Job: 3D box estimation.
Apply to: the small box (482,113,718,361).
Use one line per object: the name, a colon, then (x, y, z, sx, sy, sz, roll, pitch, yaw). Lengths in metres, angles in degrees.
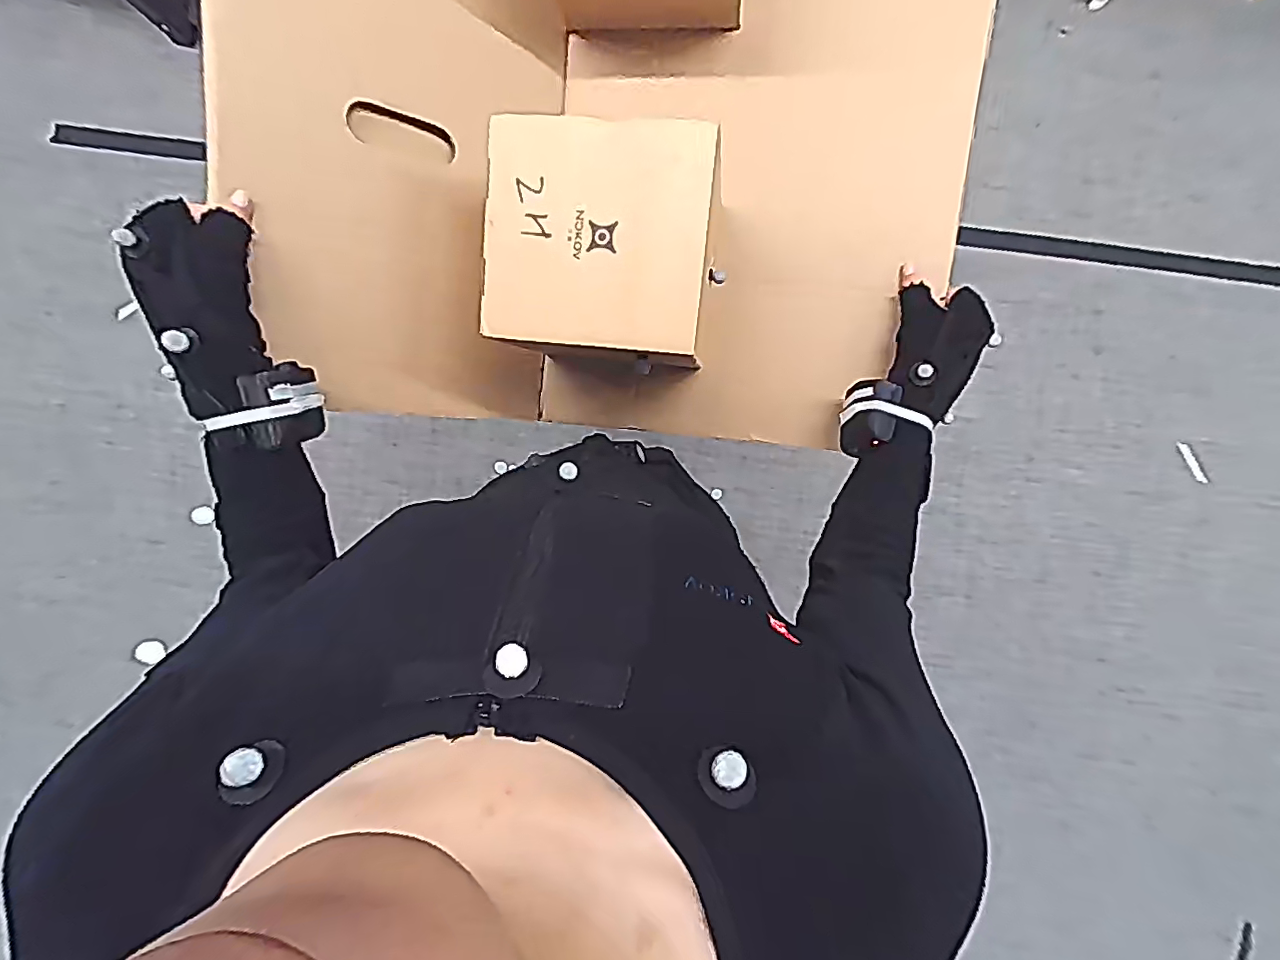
small box: (-0.024, -0.204, 0.497, 0.179, 0.176, 0.168, 7, 99, 8)

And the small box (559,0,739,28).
small box: (0.003, -0.517, 0.447, 0.179, 0.176, 0.168, 6, 99, 7)
